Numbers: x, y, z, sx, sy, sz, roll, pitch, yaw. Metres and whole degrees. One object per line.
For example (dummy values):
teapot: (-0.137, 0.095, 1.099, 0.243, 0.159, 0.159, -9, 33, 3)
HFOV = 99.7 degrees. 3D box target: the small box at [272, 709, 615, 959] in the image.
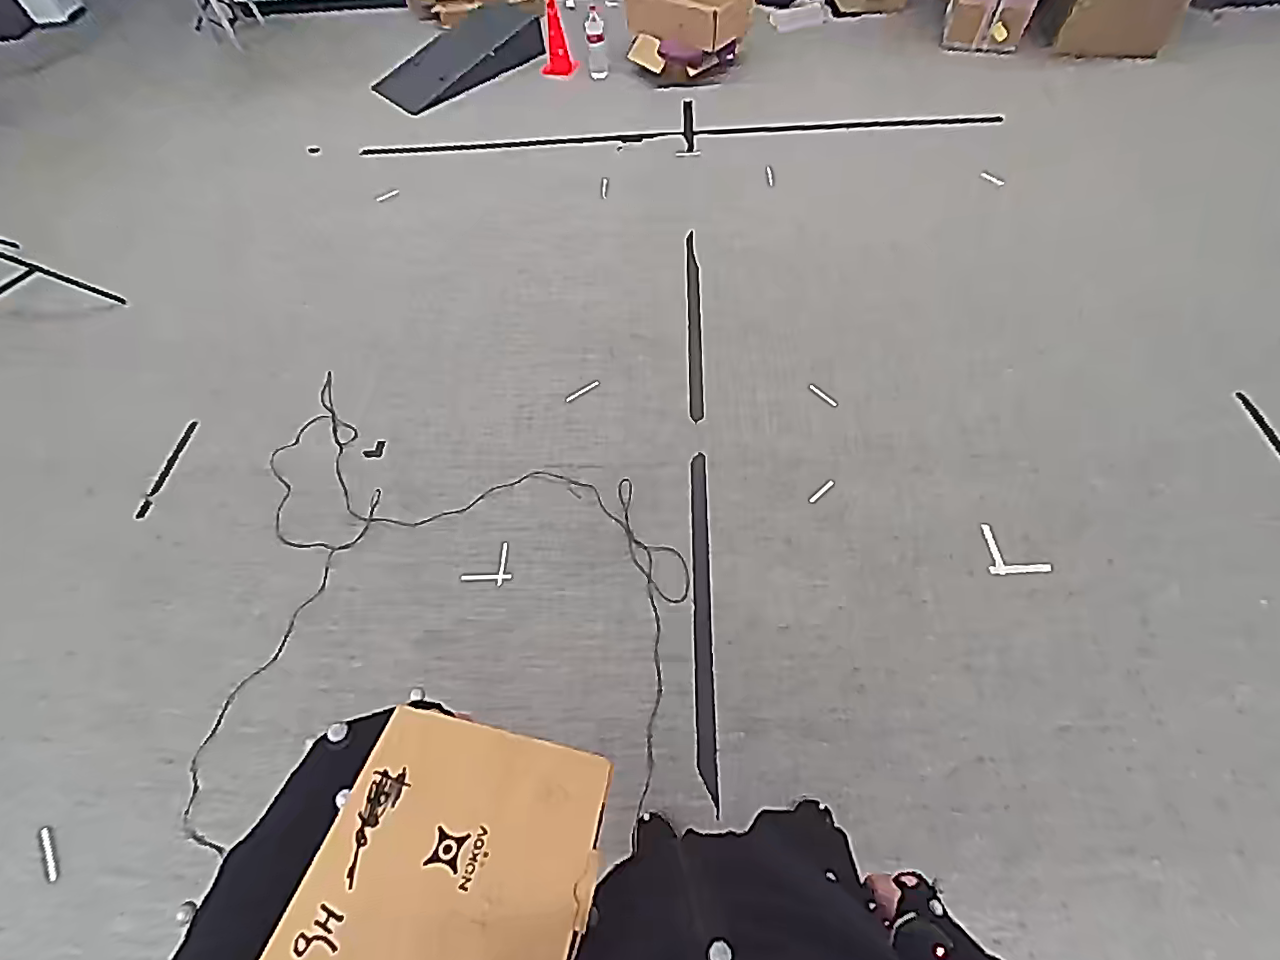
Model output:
small box: (-0.130, 0.310, 0.418, 0.179, 0.176, 0.168, 13, 42, 2)
